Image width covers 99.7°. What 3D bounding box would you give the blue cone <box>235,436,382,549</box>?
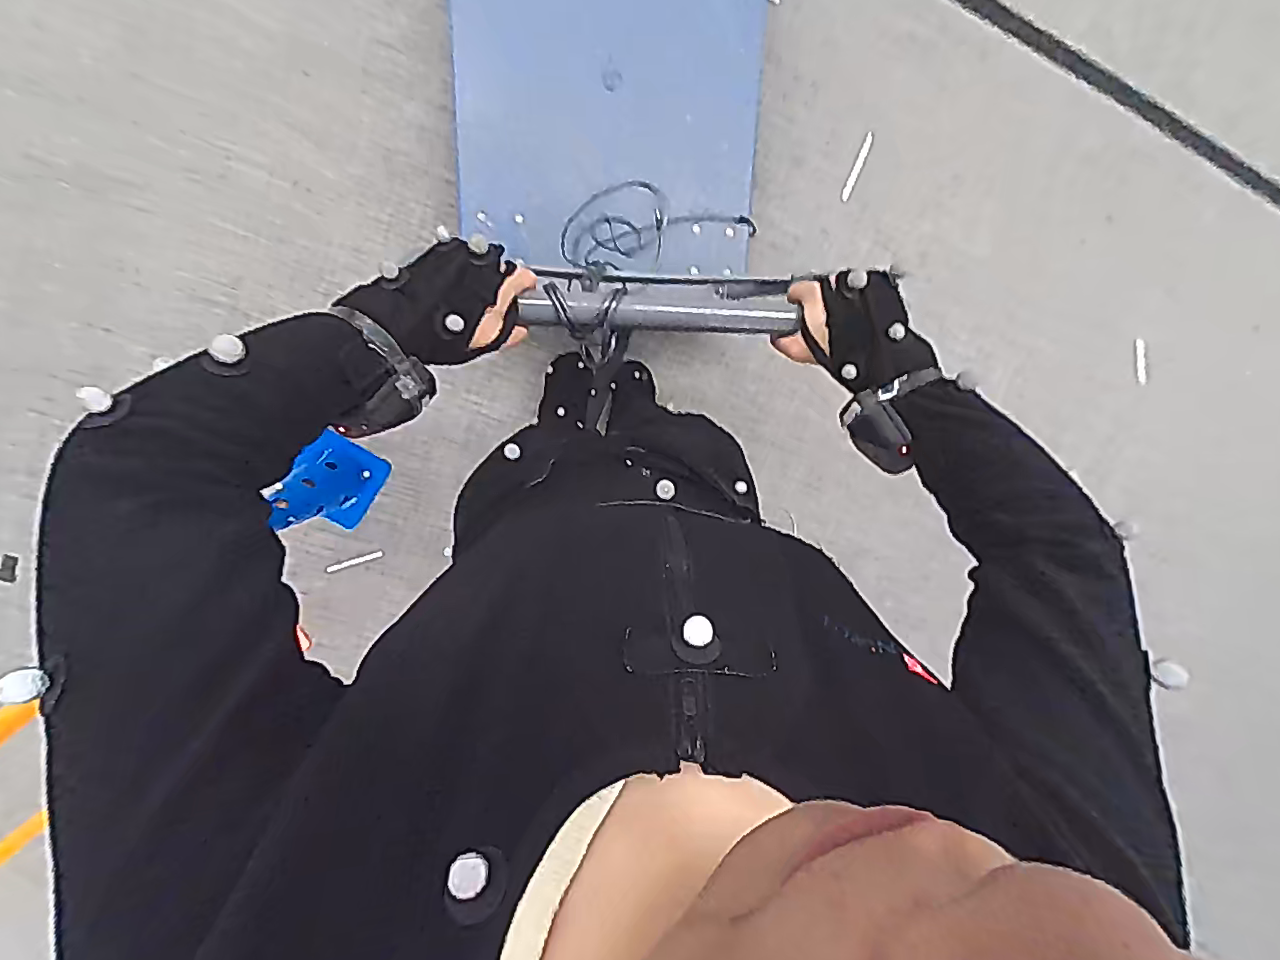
[{"bbox_3d":[-0.702,0.048,1.110,0.193,0.380,0.192,35,97,-15],"label":"blue cone"}]
